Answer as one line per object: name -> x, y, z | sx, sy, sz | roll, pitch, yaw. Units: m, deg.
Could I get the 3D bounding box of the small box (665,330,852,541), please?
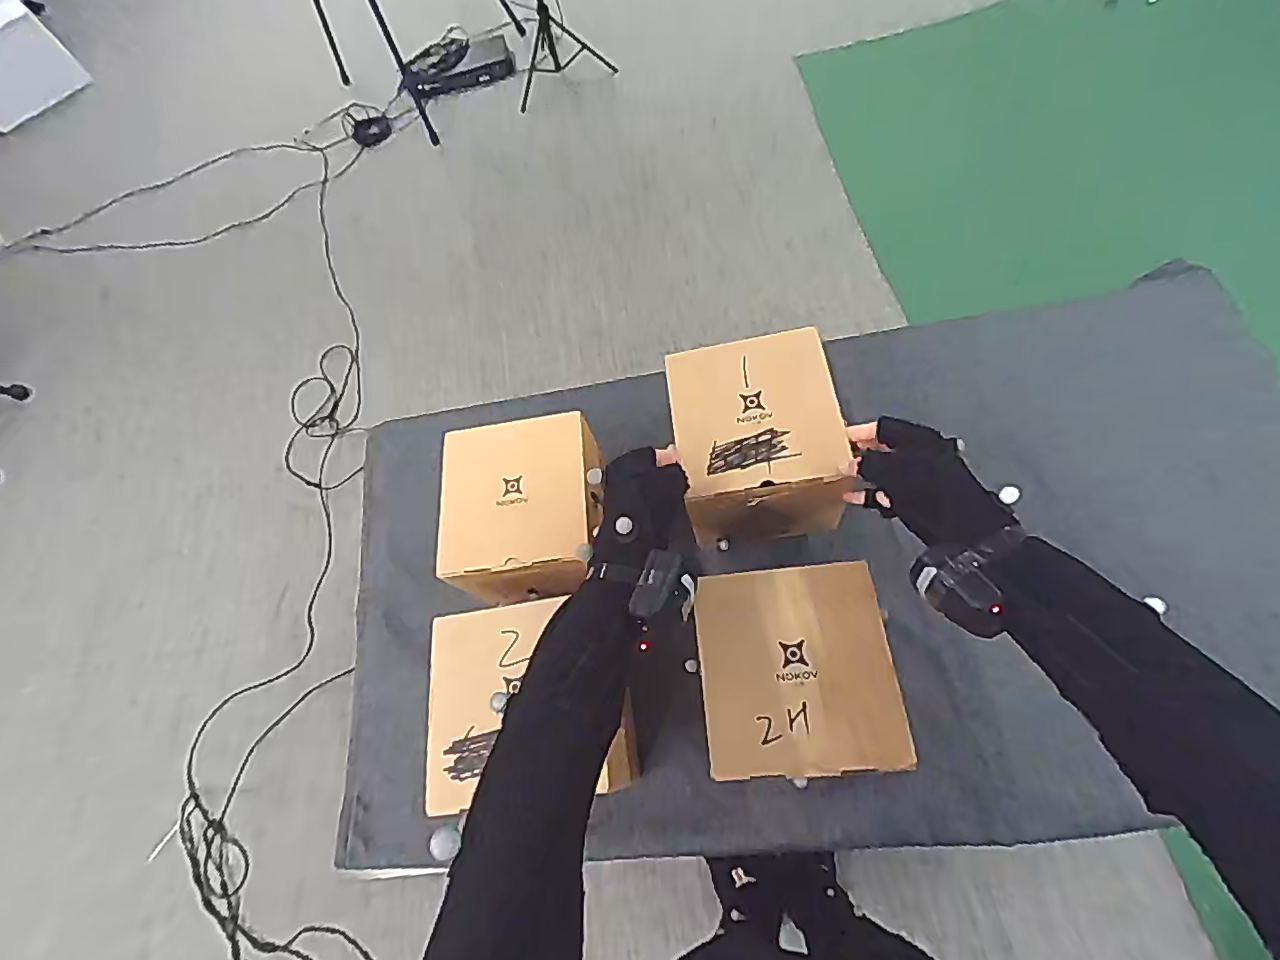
small box -> 0.129, -0.036, 0.618 | 0.168, 0.176, 0.179 | -9, 65, 8

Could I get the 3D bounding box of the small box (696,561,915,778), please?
small box -> 0.147, 0.195, 0.547 | 0.168, 0.176, 0.179 | -7, 65, 7
